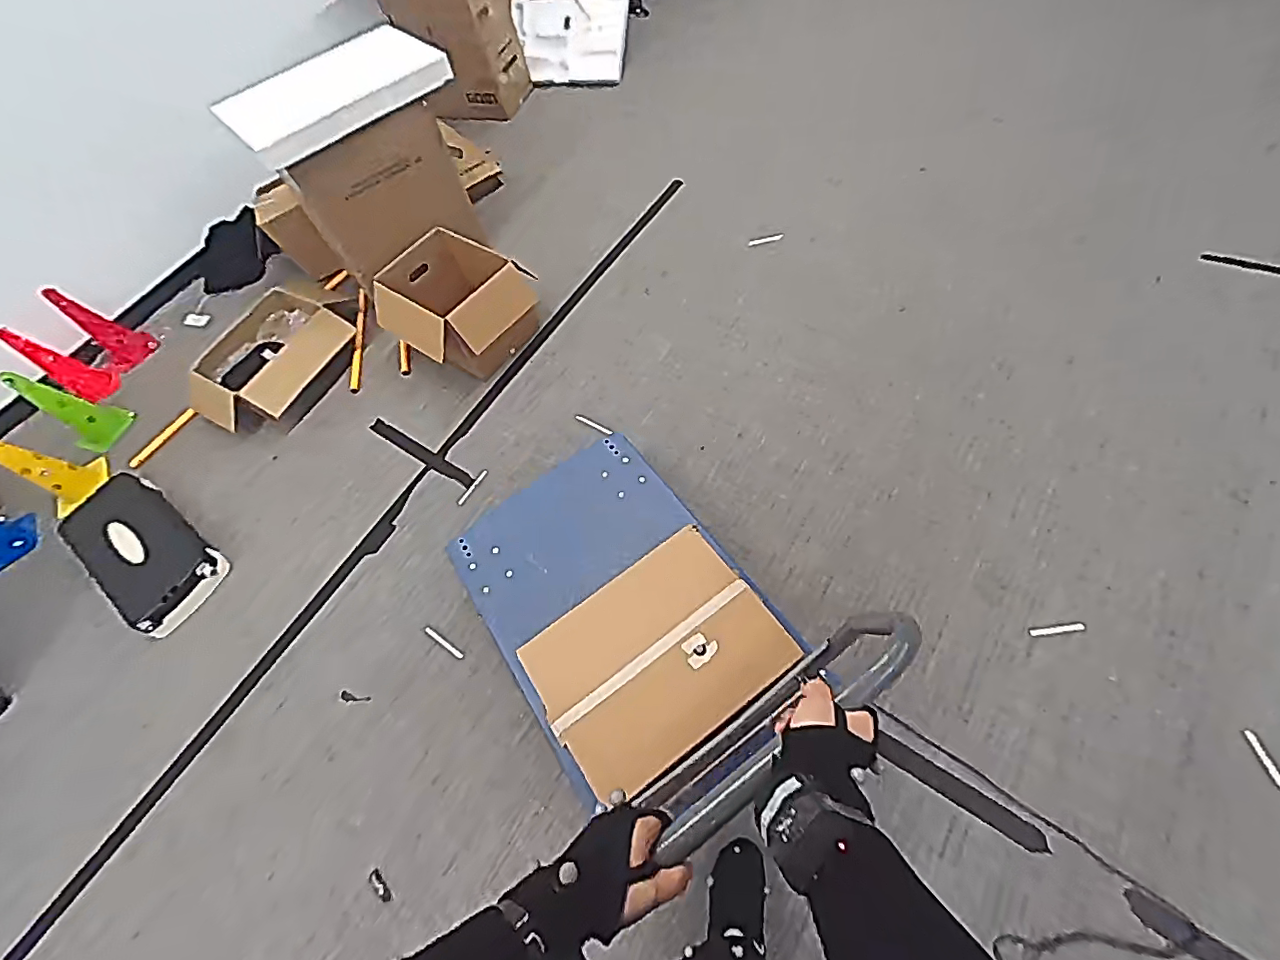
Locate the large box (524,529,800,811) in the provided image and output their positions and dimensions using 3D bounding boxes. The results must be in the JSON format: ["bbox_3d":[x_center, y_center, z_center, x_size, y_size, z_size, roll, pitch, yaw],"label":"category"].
[{"bbox_3d":[0.052,0.380,1.071,0.408,0.320,0.320,-35,61,-10],"label":"large box"}]
